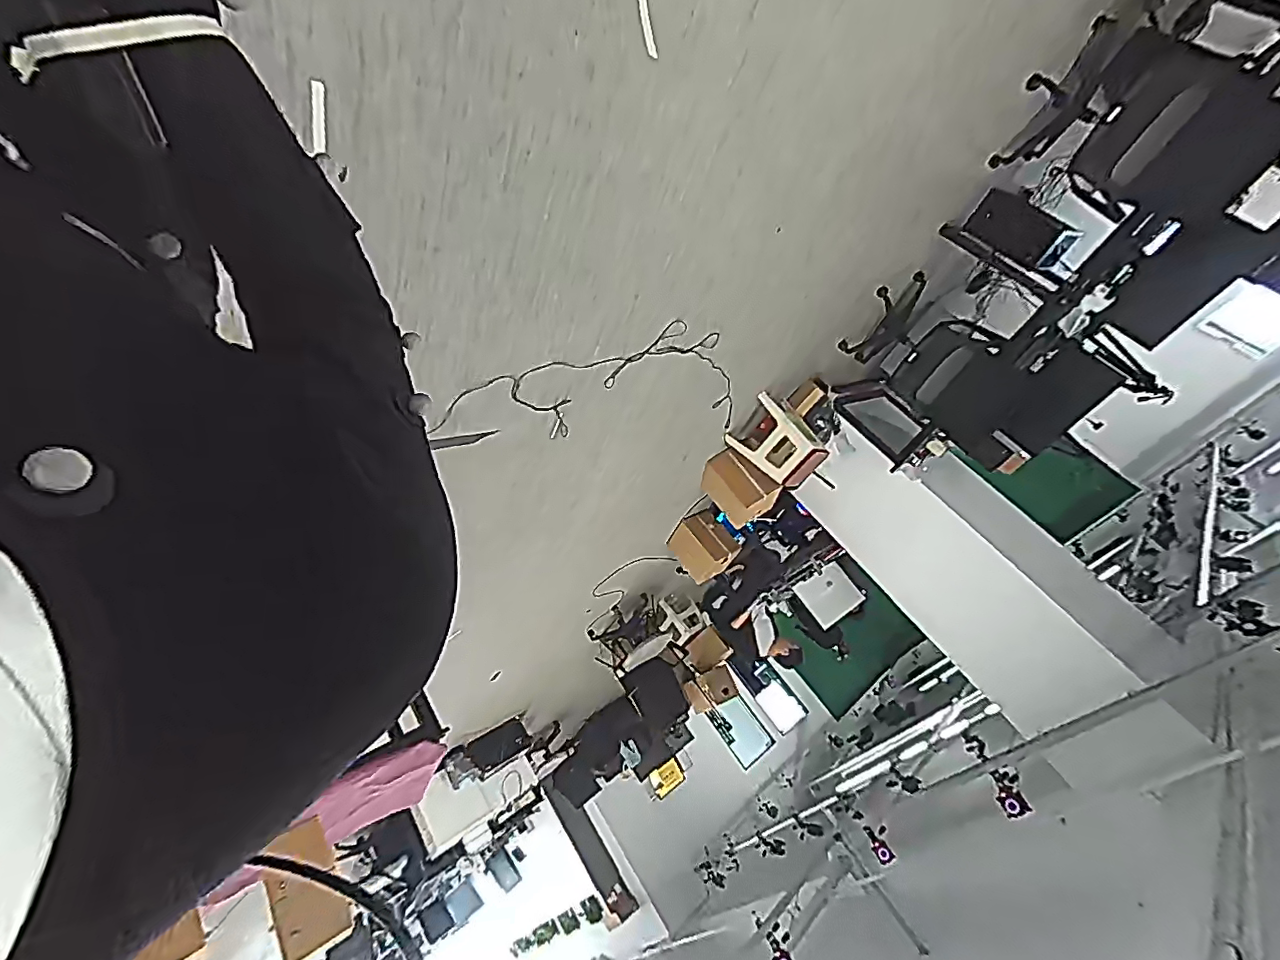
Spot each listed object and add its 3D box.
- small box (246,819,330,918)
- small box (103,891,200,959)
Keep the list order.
[{"bbox_3d":[-1.078,1.183,1.657,0.179,0.176,0.168,-15,146,-42],"label":"small box"},{"bbox_3d":[-1.301,1.248,1.446,0.168,0.176,0.179,-15,145,-44],"label":"small box"}]
